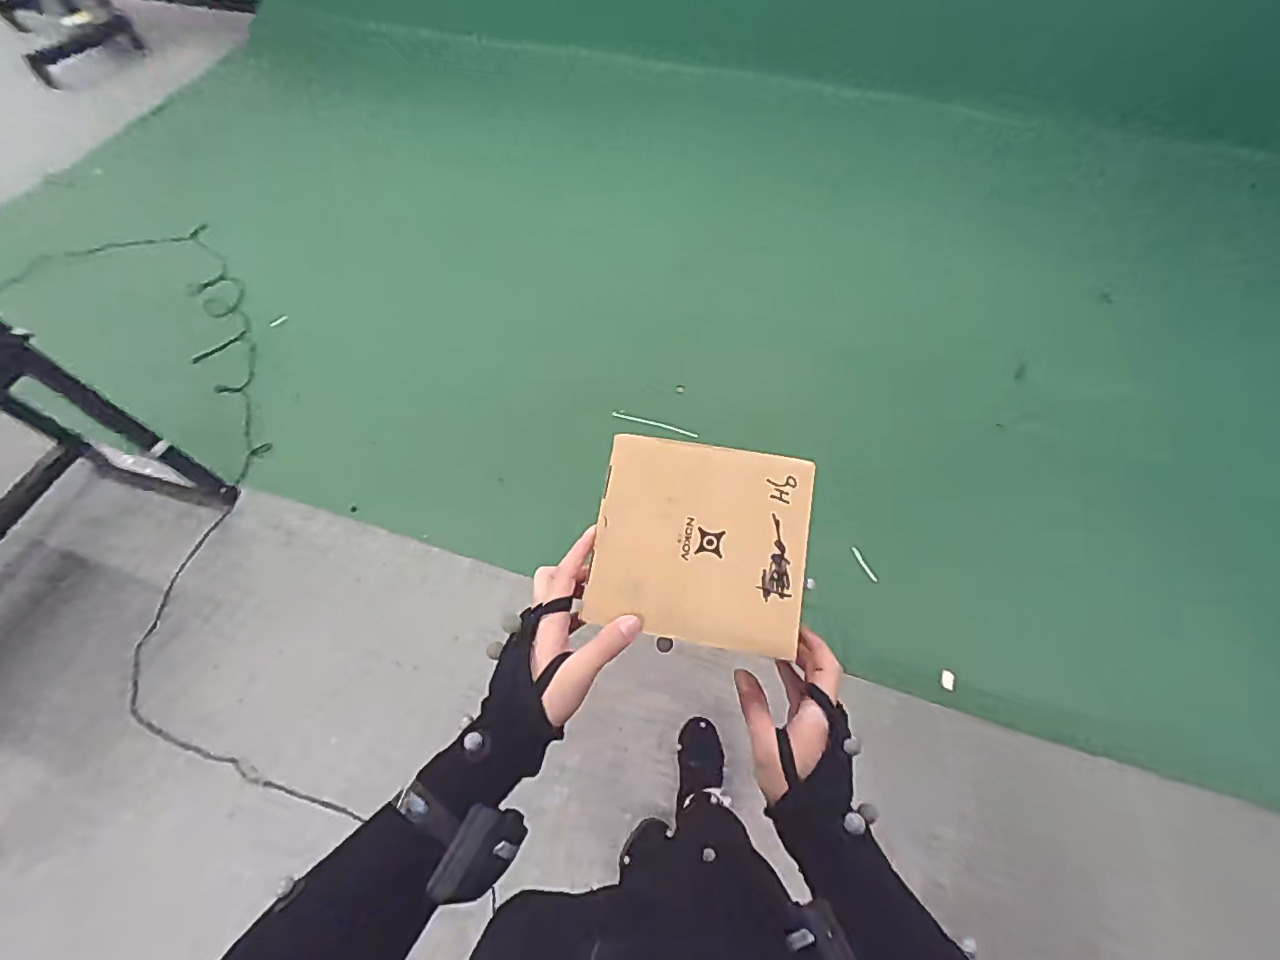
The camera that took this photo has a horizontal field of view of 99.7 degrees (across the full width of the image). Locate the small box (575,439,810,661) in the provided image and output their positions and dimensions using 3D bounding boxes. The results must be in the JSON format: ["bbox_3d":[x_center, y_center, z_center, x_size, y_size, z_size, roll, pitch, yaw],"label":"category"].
[{"bbox_3d":[0.052,0.075,0.524,0.179,0.176,0.168,9,75,7],"label":"small box"}]
